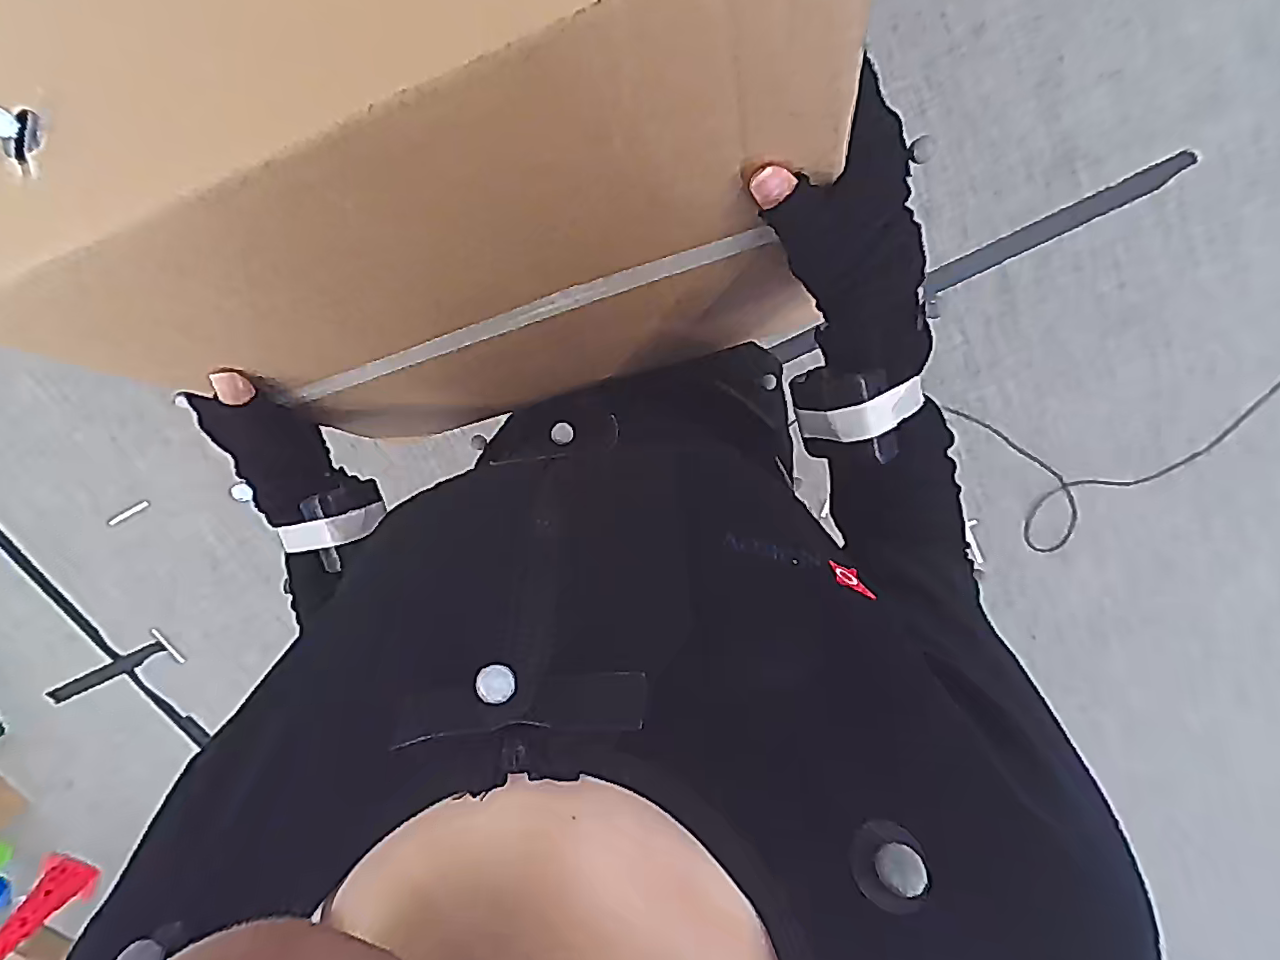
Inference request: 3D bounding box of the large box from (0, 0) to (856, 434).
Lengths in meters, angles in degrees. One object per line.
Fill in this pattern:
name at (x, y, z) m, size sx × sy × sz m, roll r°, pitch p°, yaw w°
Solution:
large box at (-0.112, -0.256, 0.371) m, size 0.408 × 0.320 × 0.320 m, roll -14°, pitch 80°, yaw 12°
